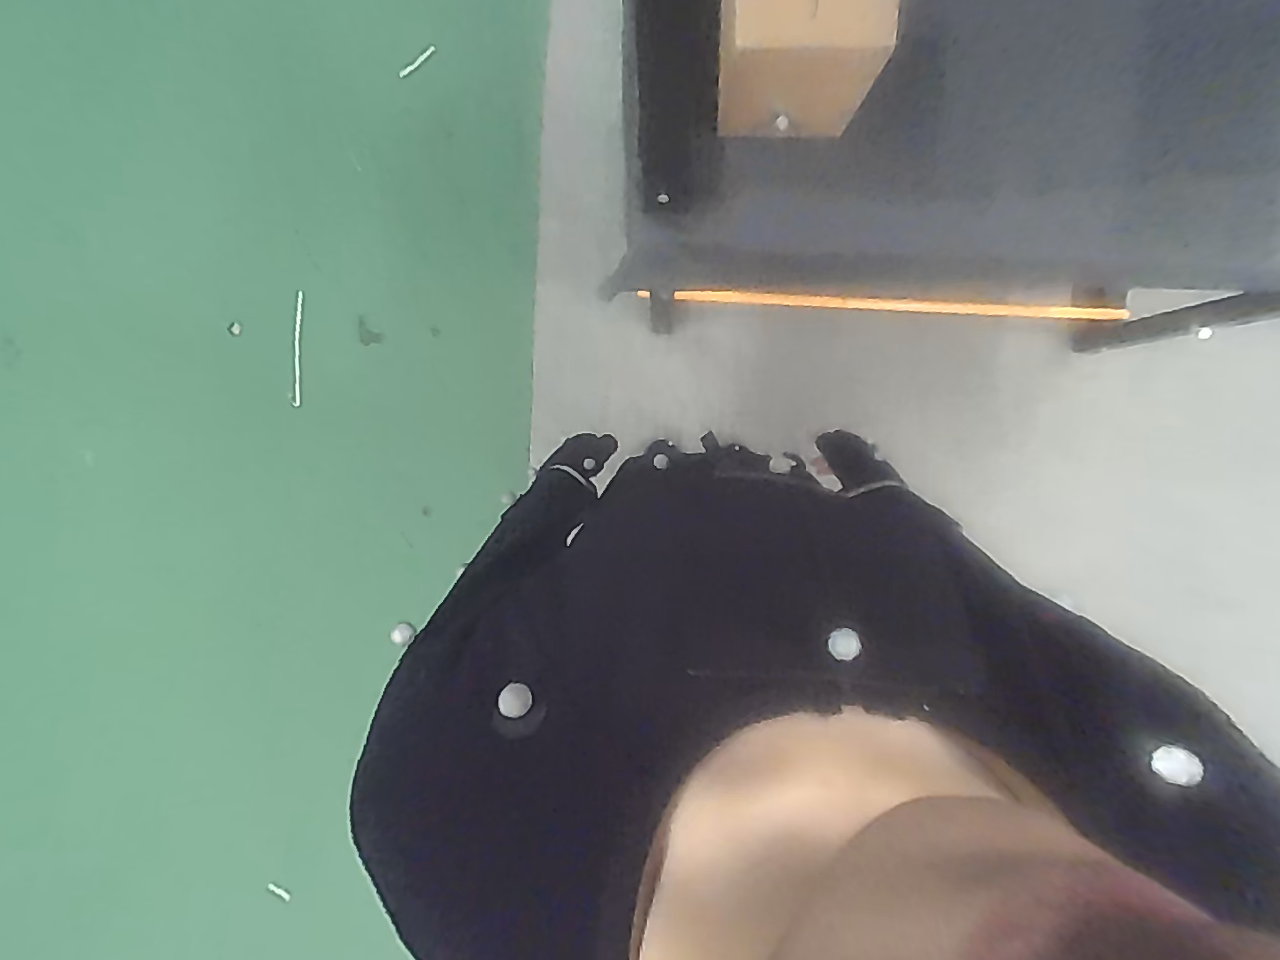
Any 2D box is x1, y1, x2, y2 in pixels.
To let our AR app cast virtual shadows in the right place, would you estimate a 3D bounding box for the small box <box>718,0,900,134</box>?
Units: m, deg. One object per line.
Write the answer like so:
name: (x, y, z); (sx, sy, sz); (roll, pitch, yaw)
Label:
small box: (0.181, -0.534, 0.618); (0.168, 0.176, 0.179); (0, 95, 2)
